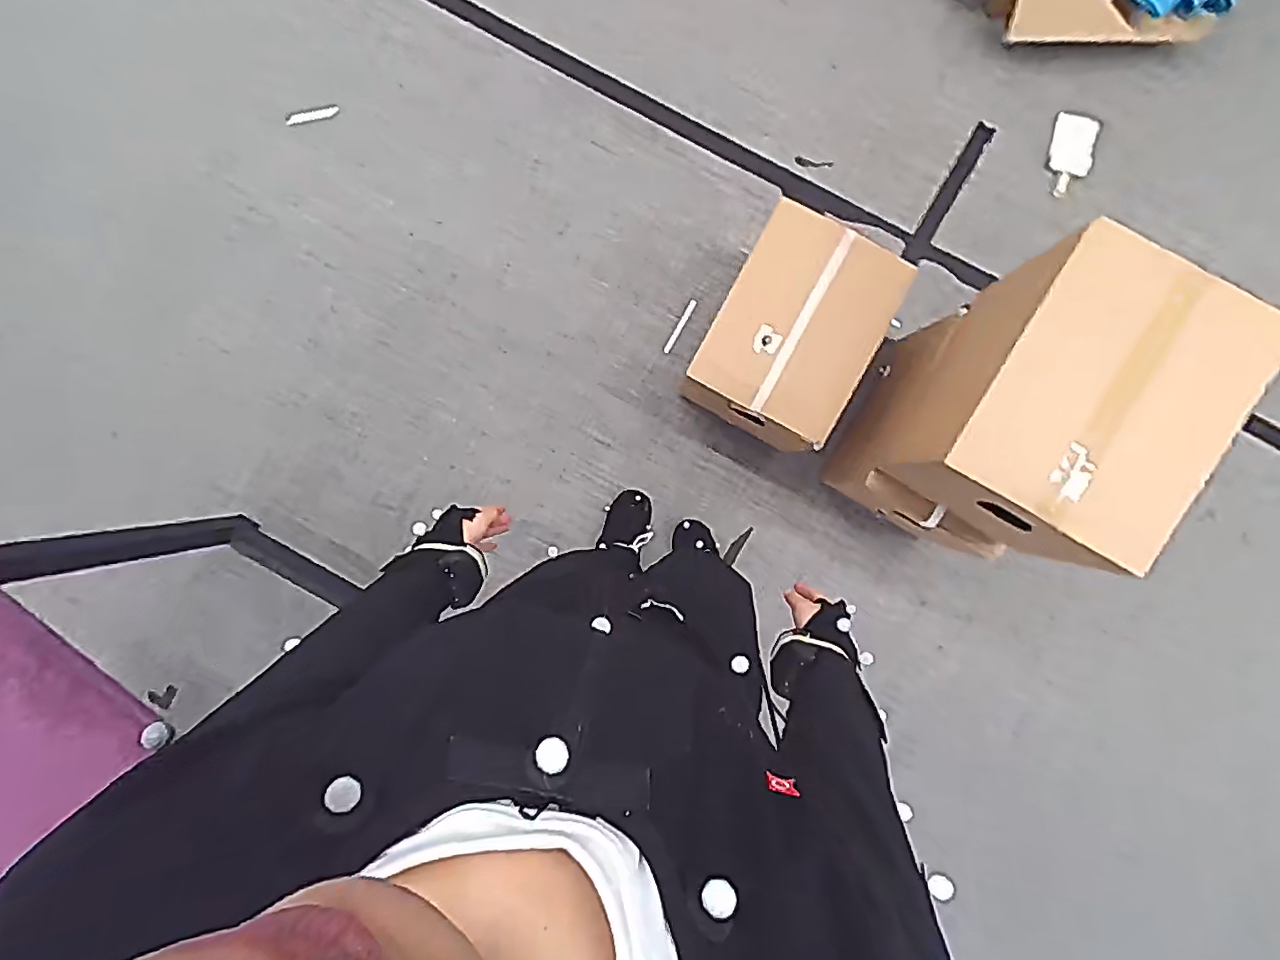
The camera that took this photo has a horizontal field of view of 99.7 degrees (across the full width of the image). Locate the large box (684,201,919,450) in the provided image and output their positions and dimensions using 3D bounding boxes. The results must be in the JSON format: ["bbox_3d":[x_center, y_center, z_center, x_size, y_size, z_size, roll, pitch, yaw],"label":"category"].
[{"bbox_3d":[0.330,-0.312,1.215,0.320,0.320,0.408,28,93,1],"label":"large box"}]
